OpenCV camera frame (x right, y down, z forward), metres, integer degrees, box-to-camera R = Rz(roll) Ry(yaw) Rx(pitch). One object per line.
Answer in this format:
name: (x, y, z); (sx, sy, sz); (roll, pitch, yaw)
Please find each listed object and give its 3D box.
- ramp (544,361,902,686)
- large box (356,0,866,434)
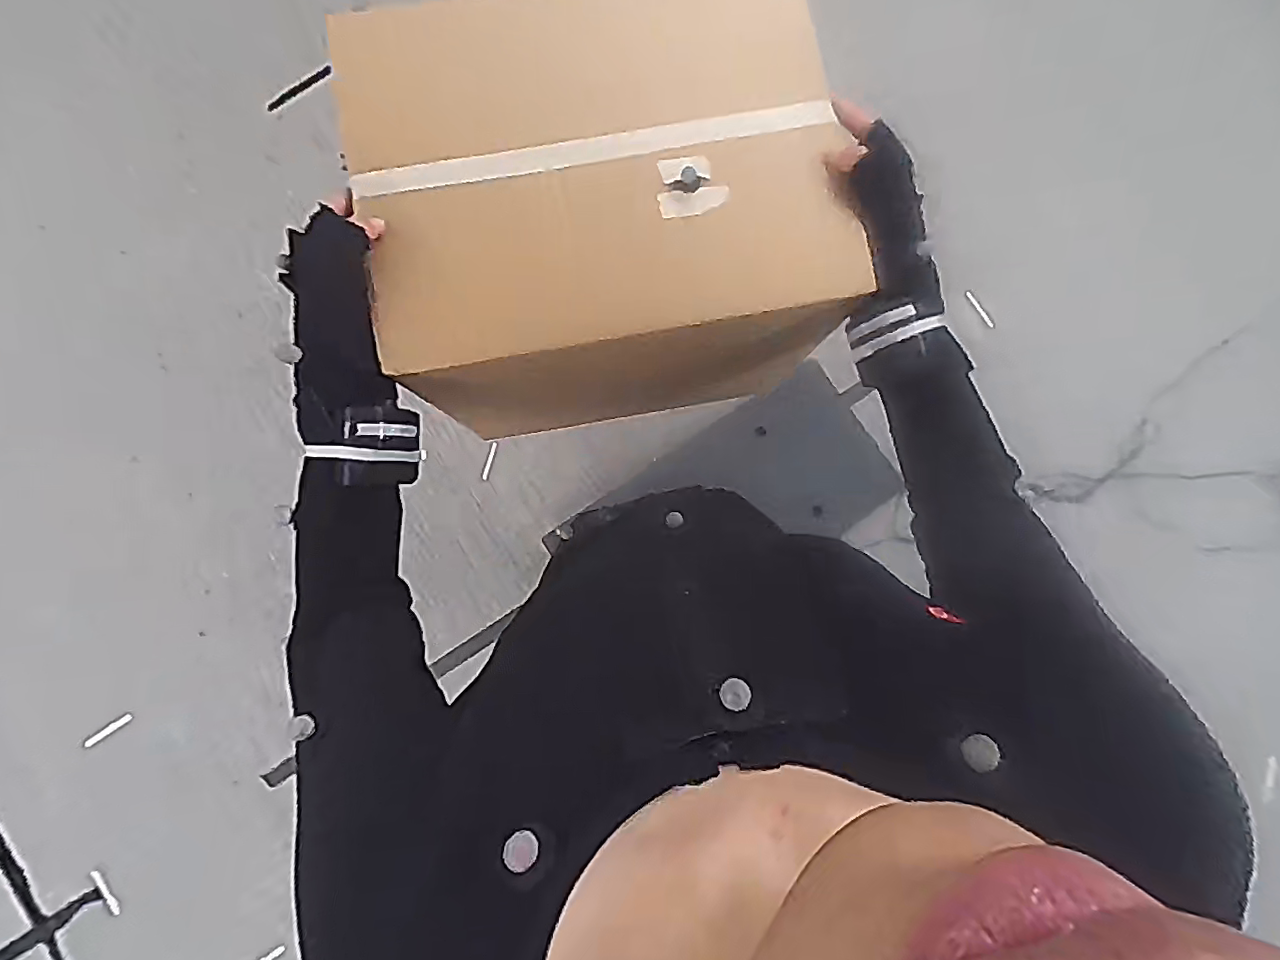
ramp: (0.269, 0.085, 1.569); (0.991, 0.206, 0.509); (-36, 85, -3)
large box: (-0.034, -0.261, 0.613); (0.408, 0.320, 0.320); (-10, 85, -3)
